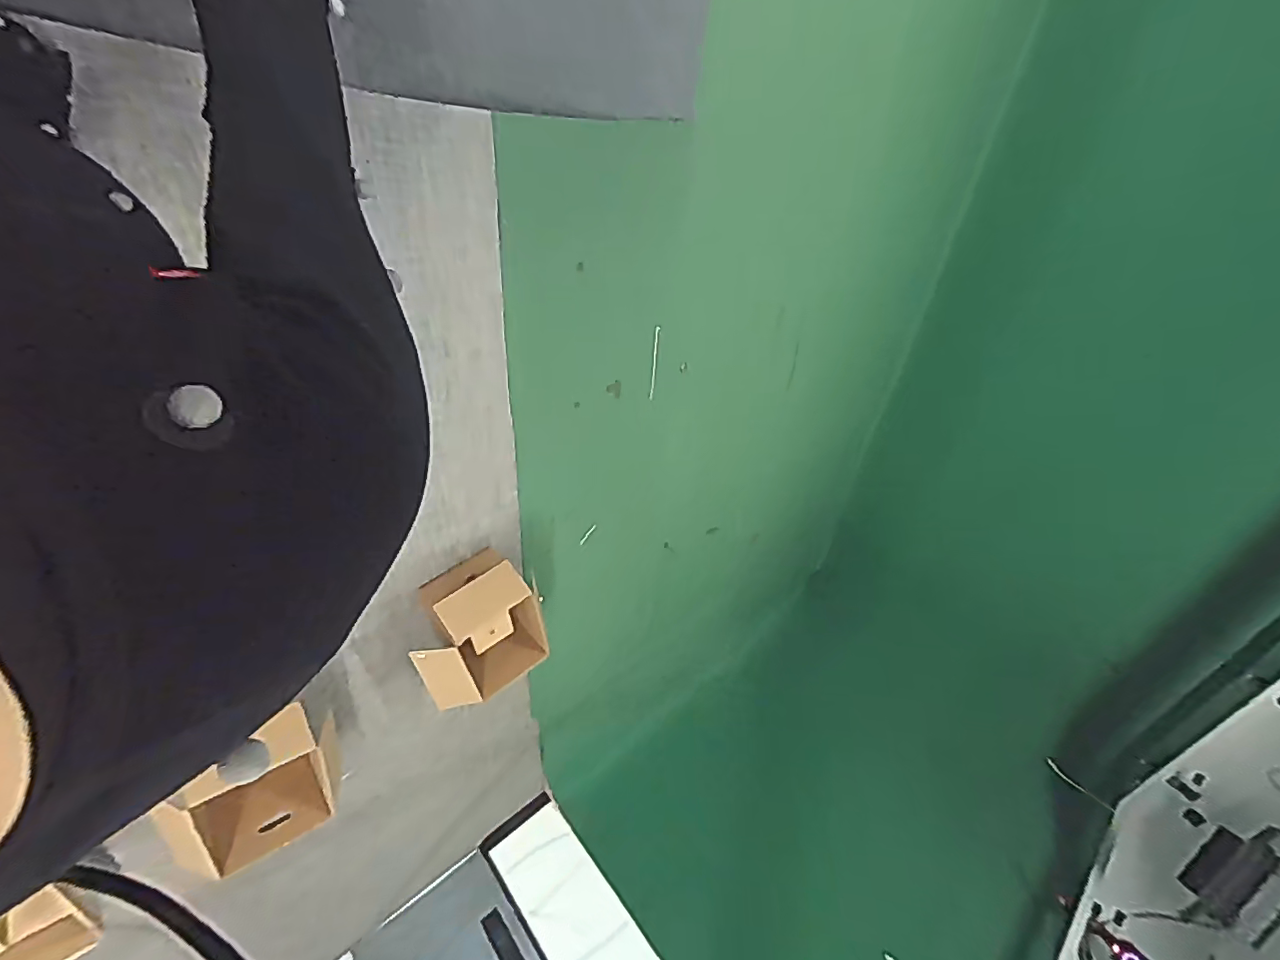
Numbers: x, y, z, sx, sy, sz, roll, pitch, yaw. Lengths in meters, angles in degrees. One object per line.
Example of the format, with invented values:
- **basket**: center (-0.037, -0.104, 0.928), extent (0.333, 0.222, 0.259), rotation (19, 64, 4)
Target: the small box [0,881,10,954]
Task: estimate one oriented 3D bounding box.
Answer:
- **small box**: center (-1.690, 1.093, 1.315), extent (0.168, 0.176, 0.179), rotation (-19, 133, -37)
